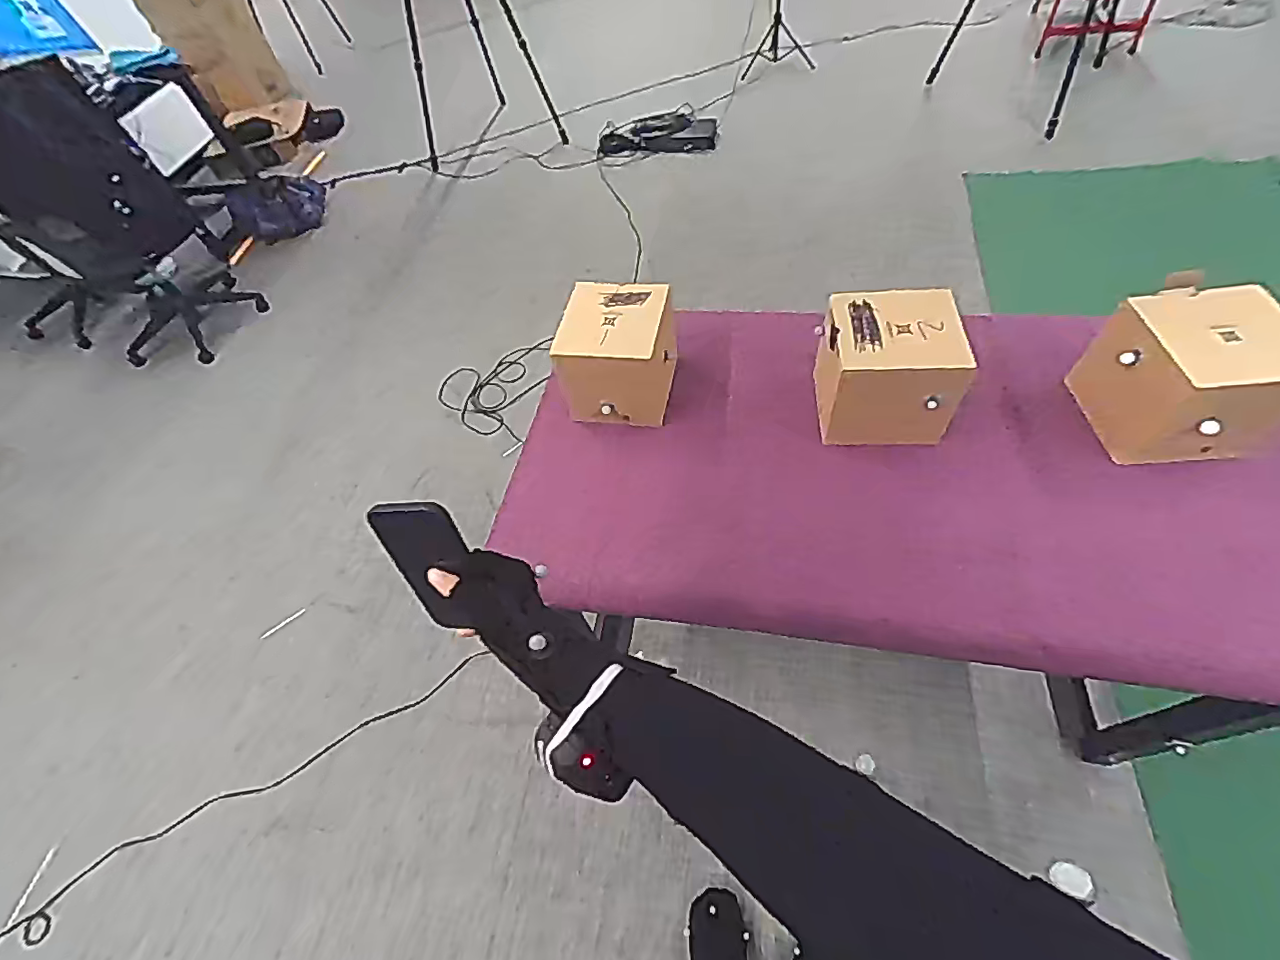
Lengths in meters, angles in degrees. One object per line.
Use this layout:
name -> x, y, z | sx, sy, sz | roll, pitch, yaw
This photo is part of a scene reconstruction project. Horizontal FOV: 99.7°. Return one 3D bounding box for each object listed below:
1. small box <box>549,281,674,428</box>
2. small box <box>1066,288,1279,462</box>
small box -> -0.037, -0.214, 0.927 | 0.168, 0.176, 0.179 | 6, 59, 13
small box -> 0.755, -0.136, 0.756 | 0.168, 0.176, 0.179 | -4, 55, 7
